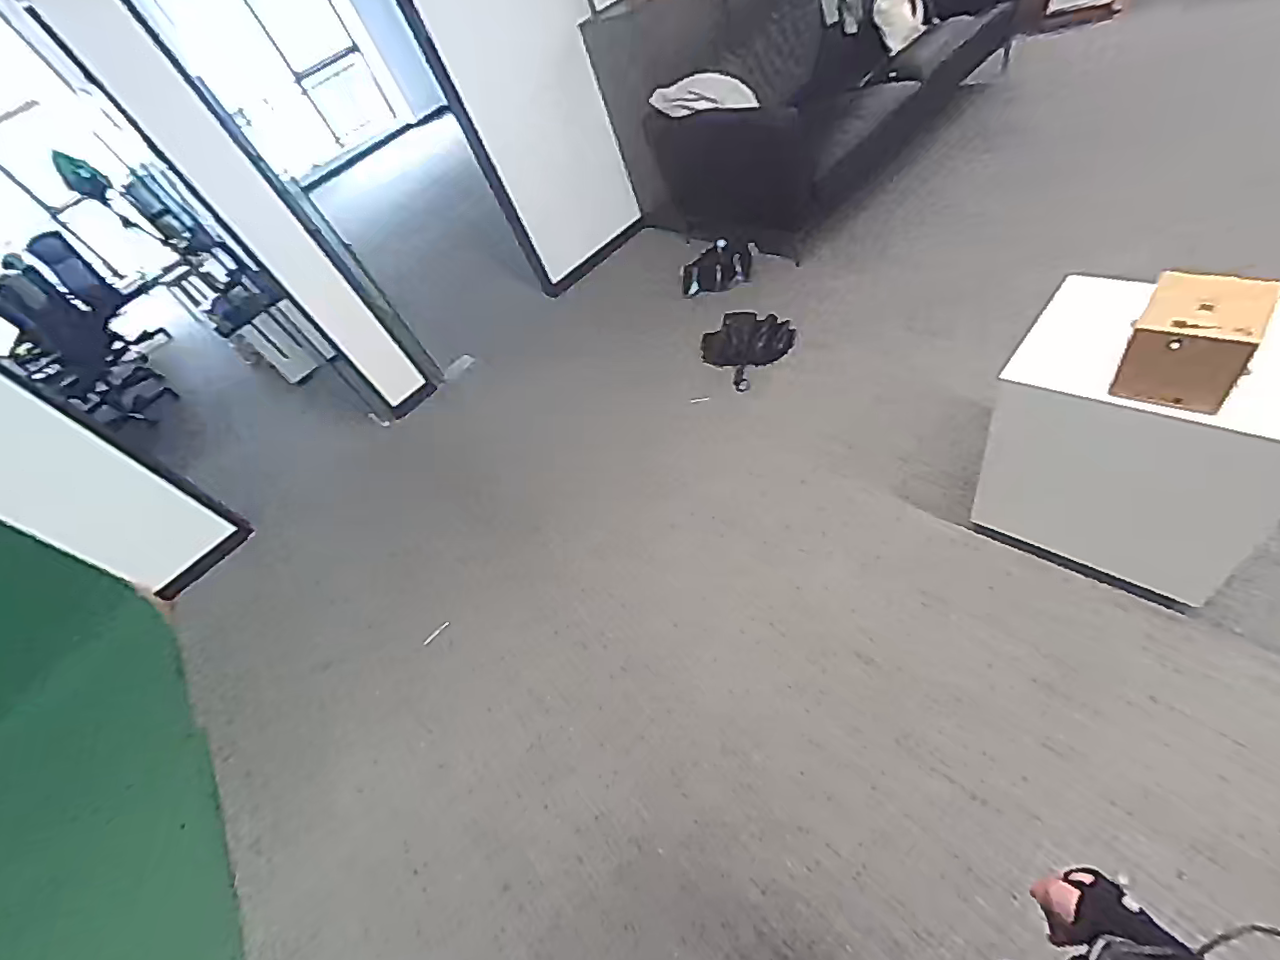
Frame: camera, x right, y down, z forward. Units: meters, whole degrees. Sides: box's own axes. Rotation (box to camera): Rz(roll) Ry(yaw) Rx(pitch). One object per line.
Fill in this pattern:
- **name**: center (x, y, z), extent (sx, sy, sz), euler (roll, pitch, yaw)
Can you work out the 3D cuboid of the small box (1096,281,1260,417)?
- **small box**: center (1.004, -0.249, 1.023), extent (0.168, 0.176, 0.179), euler (23, 61, 38)
